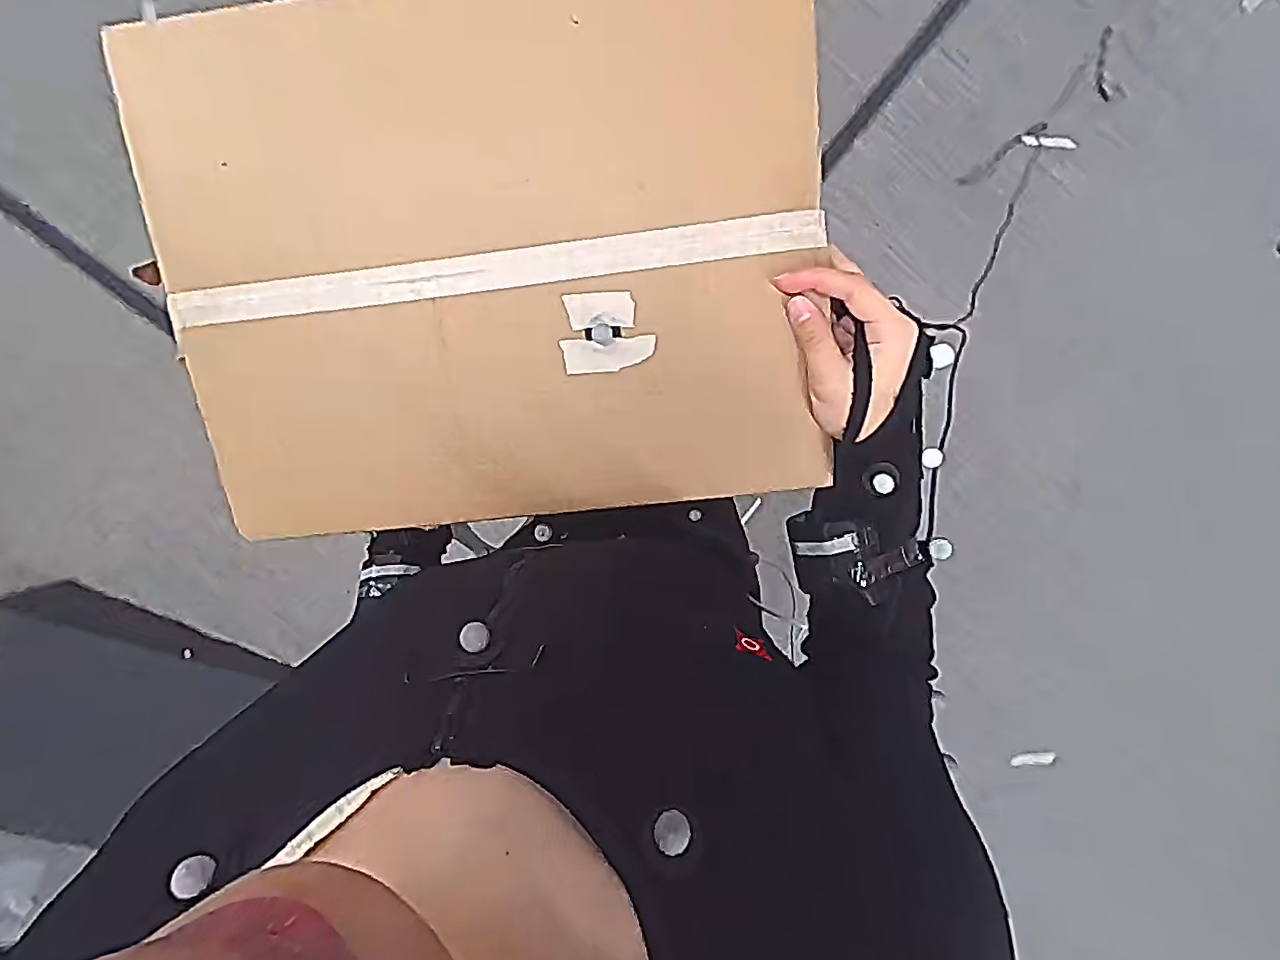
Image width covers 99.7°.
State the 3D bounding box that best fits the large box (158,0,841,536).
[{"bbox_3d":[-0.076,-0.158,0.488,0.408,0.320,0.320,-5,102,2],"label":"large box"}]
